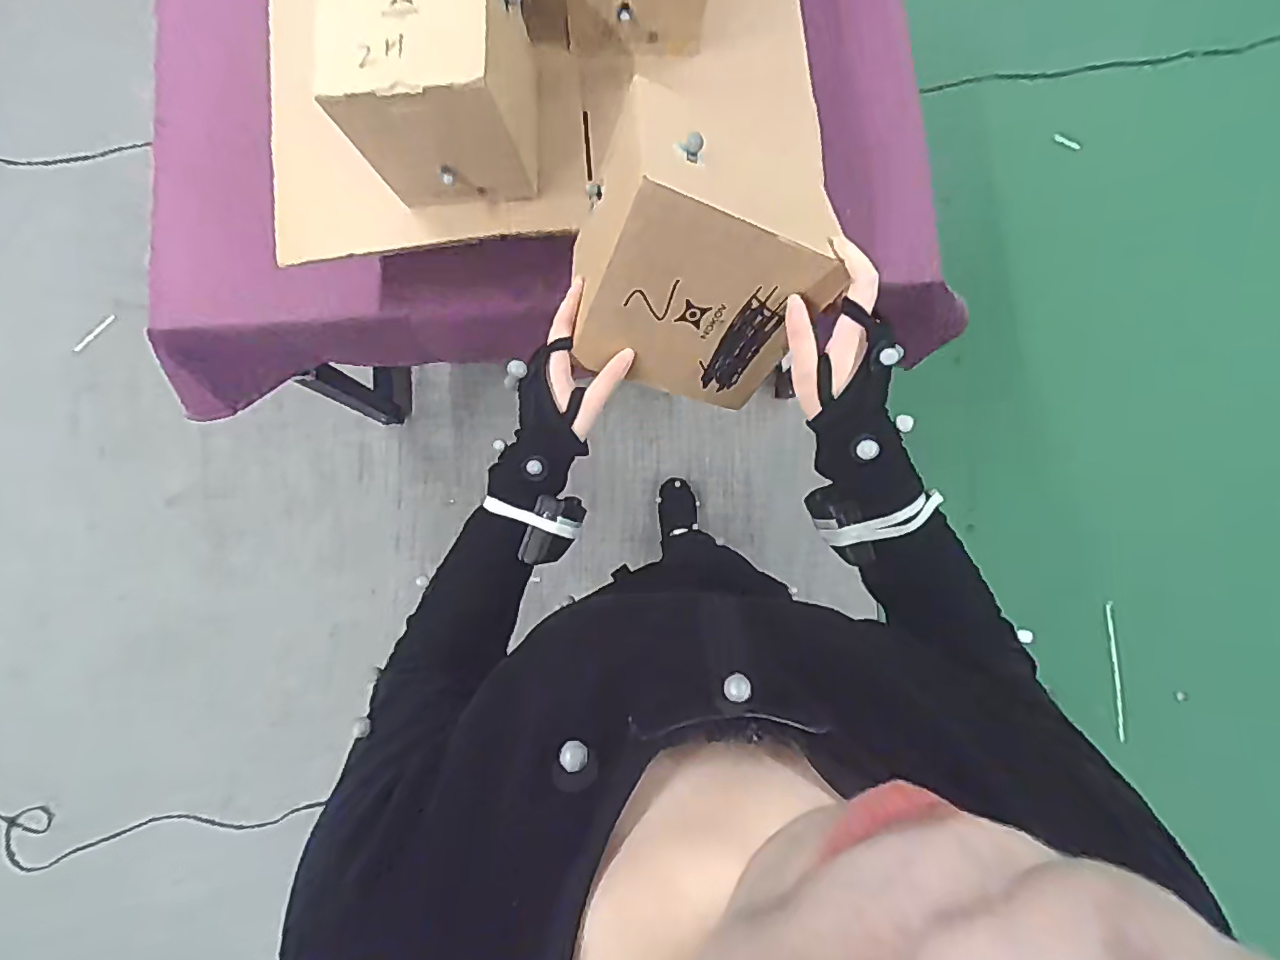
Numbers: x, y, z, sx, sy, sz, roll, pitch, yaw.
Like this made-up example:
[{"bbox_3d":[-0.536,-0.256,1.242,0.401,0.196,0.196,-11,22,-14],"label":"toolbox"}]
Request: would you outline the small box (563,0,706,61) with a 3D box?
[{"bbox_3d":[-0.007,-0.631,0.616,0.168,0.176,0.179,-2,84,-4],"label":"small box"}]
